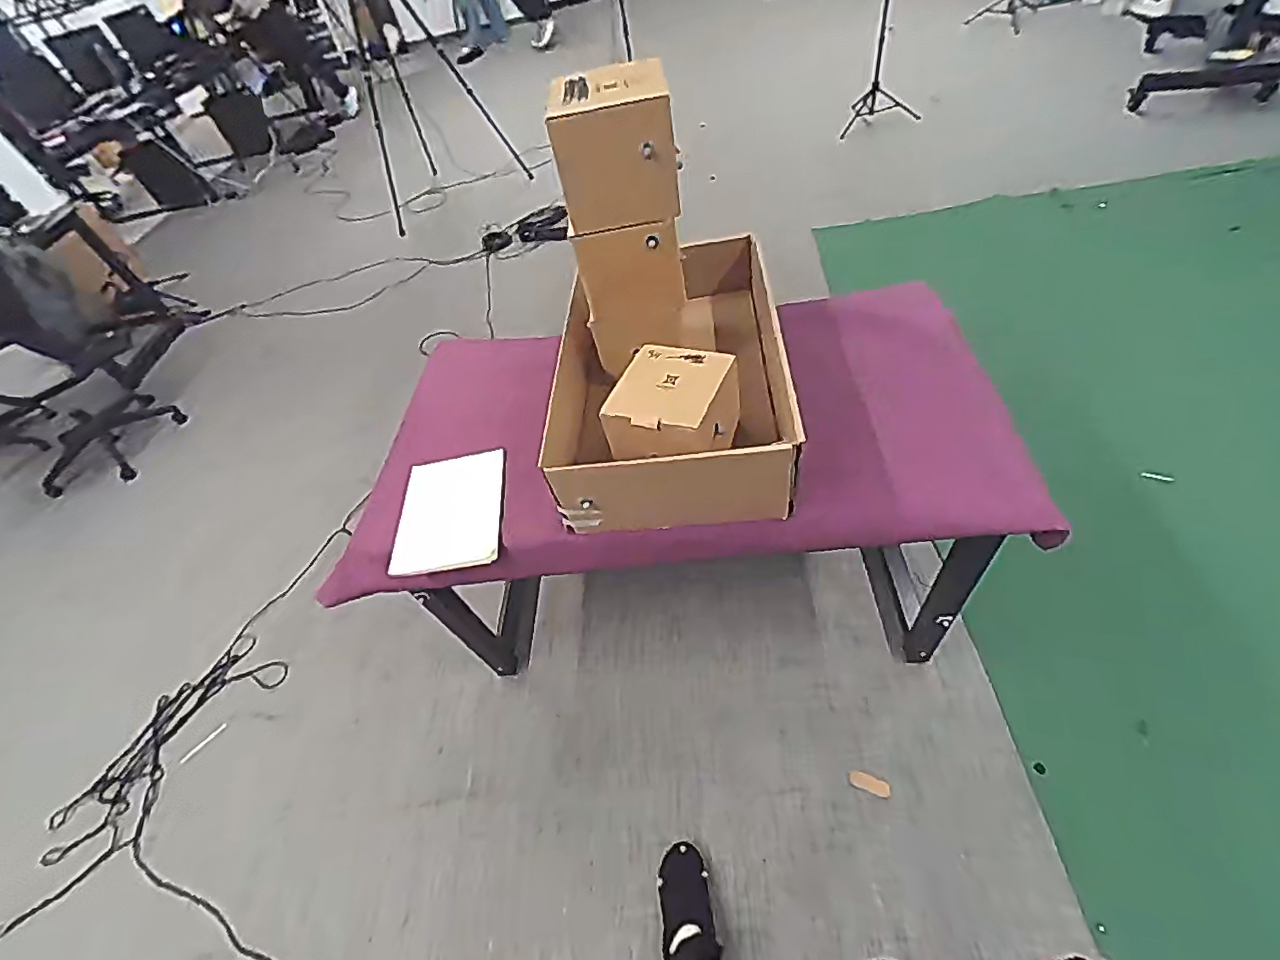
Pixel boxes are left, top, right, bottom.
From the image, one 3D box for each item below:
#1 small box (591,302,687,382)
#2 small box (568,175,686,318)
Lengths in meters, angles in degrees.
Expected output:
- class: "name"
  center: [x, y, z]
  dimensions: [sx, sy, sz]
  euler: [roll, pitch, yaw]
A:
- class: "small box"
  center: [0.005, -0.315, 1.100]
  dimensions: [0.168, 0.176, 0.179]
  euler: [-5, 52, 9]
- class: "small box"
  center: [-0.018, -0.412, 0.972]
  dimensions: [0.179, 0.176, 0.168]
  euler: [-7, 52, 7]
